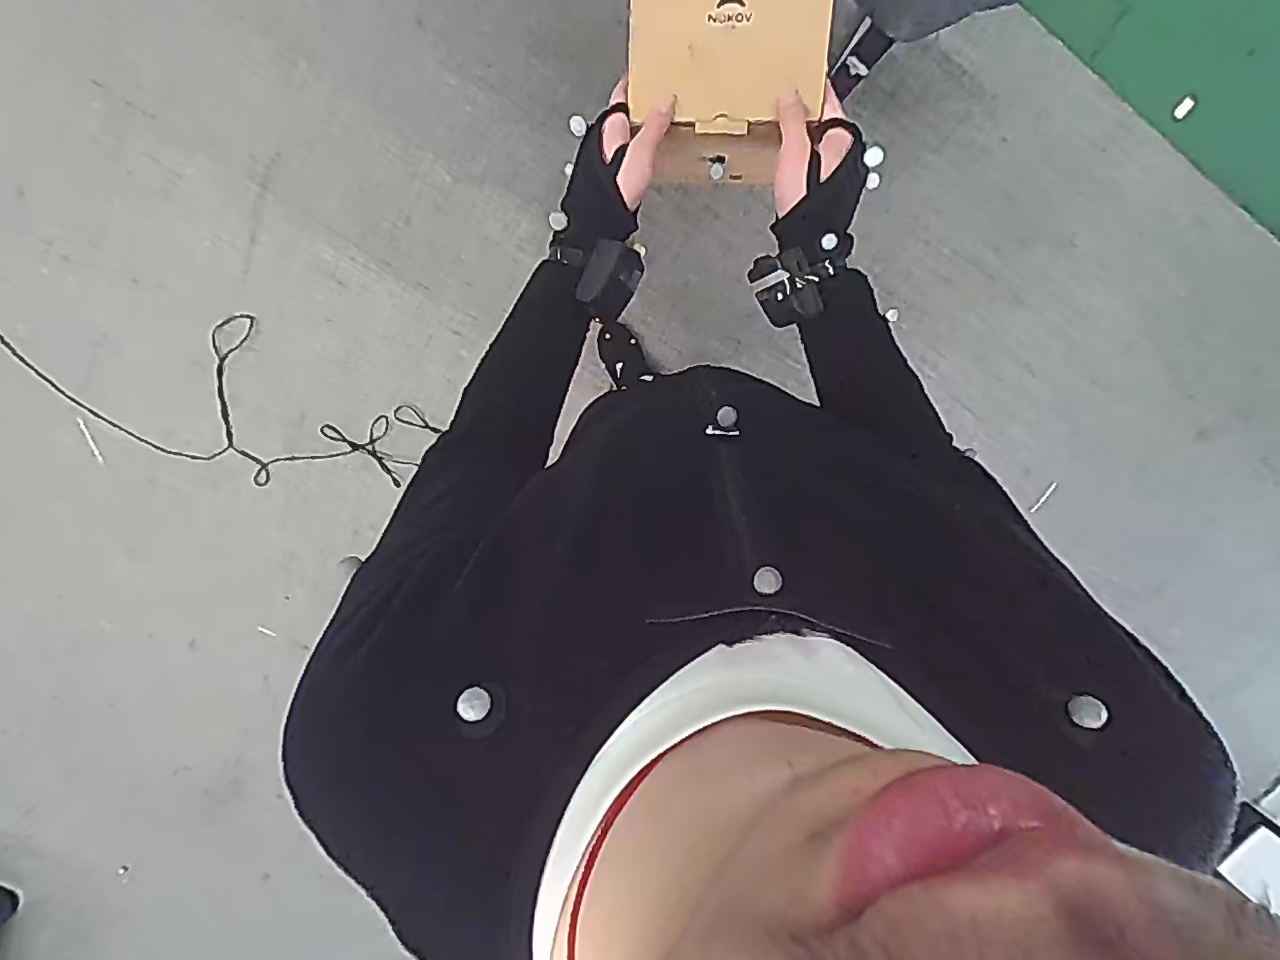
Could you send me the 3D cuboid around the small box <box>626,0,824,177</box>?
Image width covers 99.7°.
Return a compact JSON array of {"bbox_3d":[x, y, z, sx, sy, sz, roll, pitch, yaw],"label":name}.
[{"bbox_3d":[0.080,-0.409,0.524,0.168,0.176,0.179,1,103,7],"label":"small box"}]
